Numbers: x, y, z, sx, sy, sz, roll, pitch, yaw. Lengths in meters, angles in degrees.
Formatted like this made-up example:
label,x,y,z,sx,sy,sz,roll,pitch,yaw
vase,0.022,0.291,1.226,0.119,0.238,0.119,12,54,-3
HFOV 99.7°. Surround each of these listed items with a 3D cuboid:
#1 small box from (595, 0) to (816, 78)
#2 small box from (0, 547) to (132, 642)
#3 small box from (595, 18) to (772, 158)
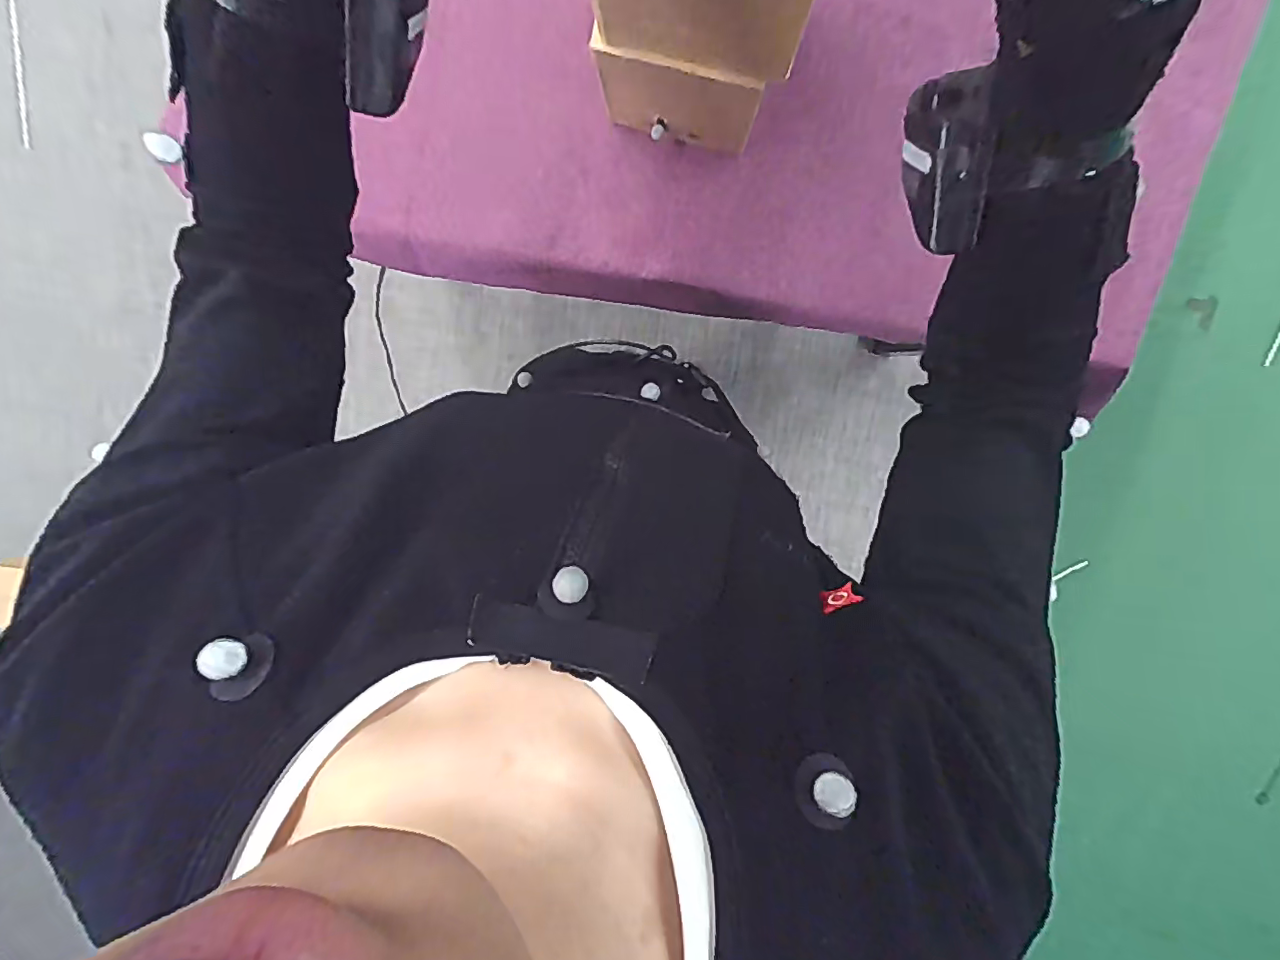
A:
label,x,y,z,sx,sy,sz,roll,pitch,yaw
small box,0.060,-0.432,0.389,0.179,0.176,0.168,13,102,0
small box,-1.428,0.280,1.355,0.179,0.176,0.168,8,103,2
small box,0.061,-0.466,0.547,0.168,0.176,0.179,15,103,0
